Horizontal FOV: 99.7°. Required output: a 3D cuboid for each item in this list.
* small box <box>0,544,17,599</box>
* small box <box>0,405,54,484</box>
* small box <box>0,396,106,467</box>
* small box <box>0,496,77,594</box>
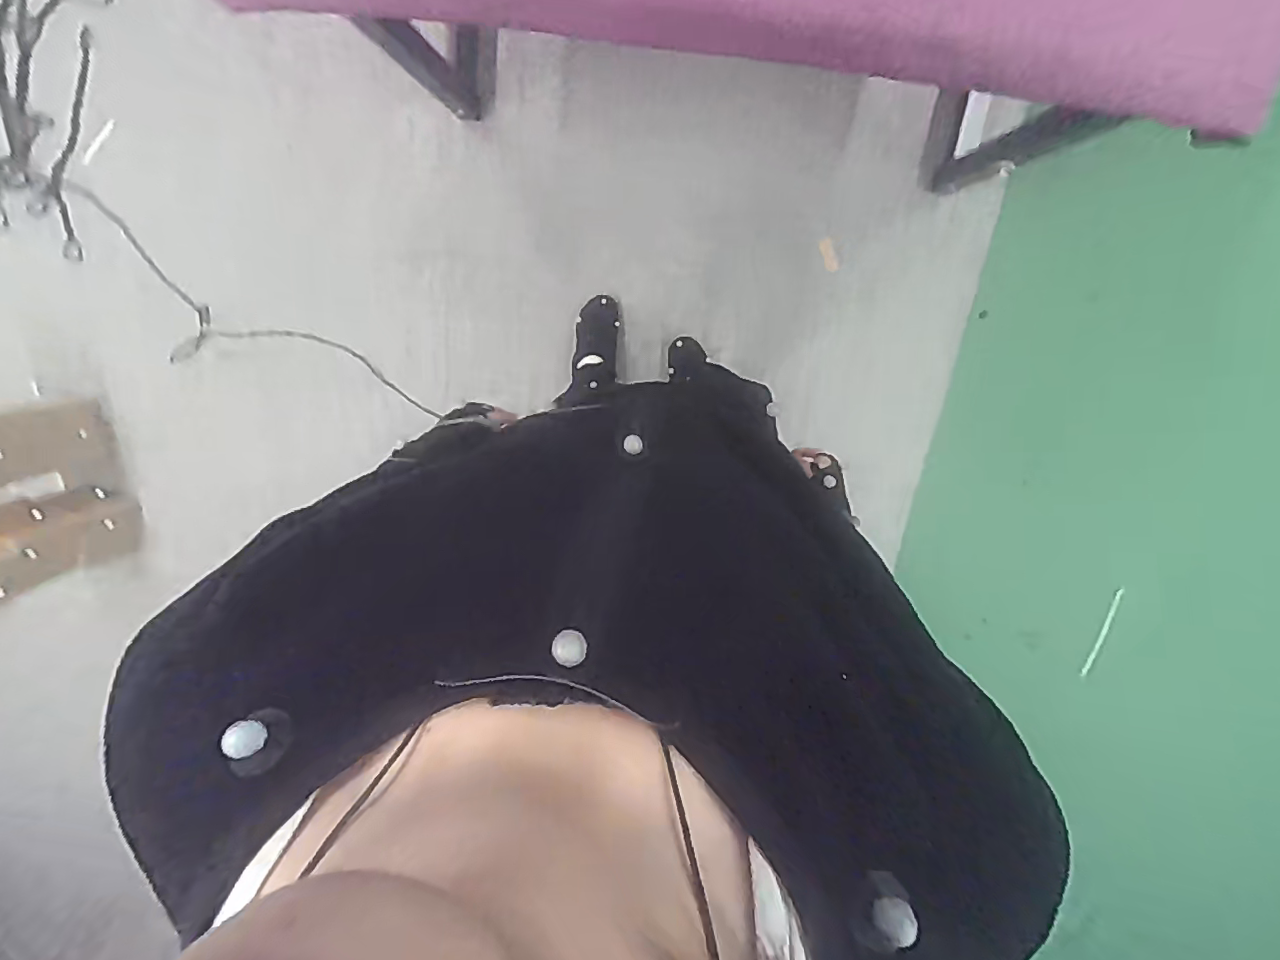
[{"bbox_3d":[-1.643,0.221,1.258,0.179,0.176,0.168,29,106,-6],"label":"small box"},{"bbox_3d":[-1.627,-0.080,1.331,0.168,0.176,0.179,-4,108,3],"label":"small box"},{"bbox_3d":[-1.632,-0.137,1.484,0.179,0.176,0.168,1,108,3],"label":"small box"},{"bbox_3d":[-1.643,0.169,1.414,0.168,0.176,0.179,24,106,-4],"label":"small box"}]
